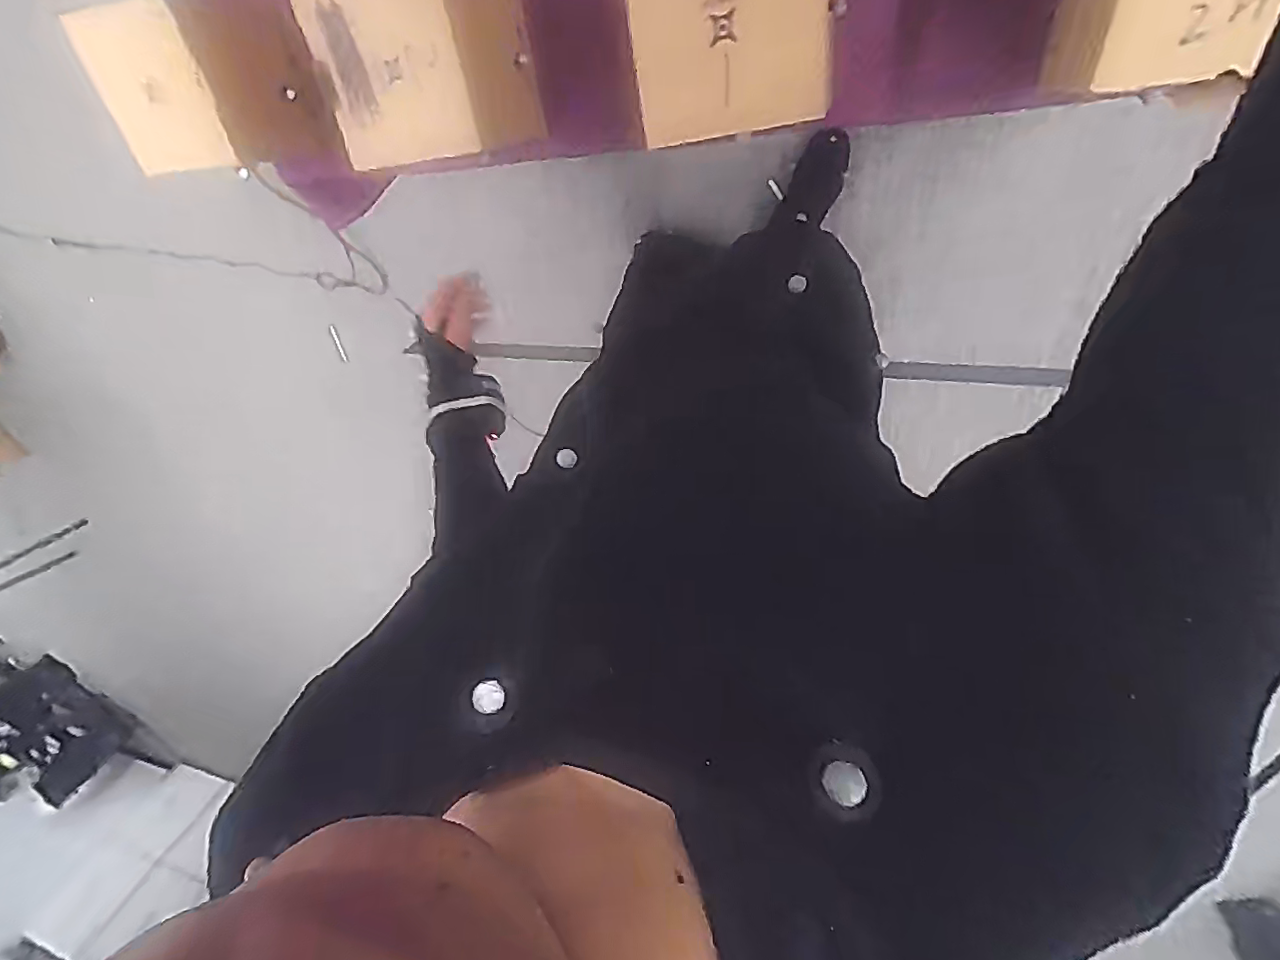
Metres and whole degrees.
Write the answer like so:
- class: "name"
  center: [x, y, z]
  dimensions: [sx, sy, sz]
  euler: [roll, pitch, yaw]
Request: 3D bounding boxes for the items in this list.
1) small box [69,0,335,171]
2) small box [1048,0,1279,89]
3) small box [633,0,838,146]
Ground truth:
- class: "small box"
  center: [-0.553, -0.513, 0.709]
  dimensions: [0.179, 0.176, 0.168]
  euler: [5, 127, 17]
- class: "small box"
  center: [0.439, -0.402, 0.400]
  dimensions: [0.168, 0.176, 0.179]
  euler: [8, 127, 18]
- class: "small box"
  center: [0.097, -0.436, 0.512]
  dimensions: [0.168, 0.176, 0.179]
  euler: [2, 127, 20]
